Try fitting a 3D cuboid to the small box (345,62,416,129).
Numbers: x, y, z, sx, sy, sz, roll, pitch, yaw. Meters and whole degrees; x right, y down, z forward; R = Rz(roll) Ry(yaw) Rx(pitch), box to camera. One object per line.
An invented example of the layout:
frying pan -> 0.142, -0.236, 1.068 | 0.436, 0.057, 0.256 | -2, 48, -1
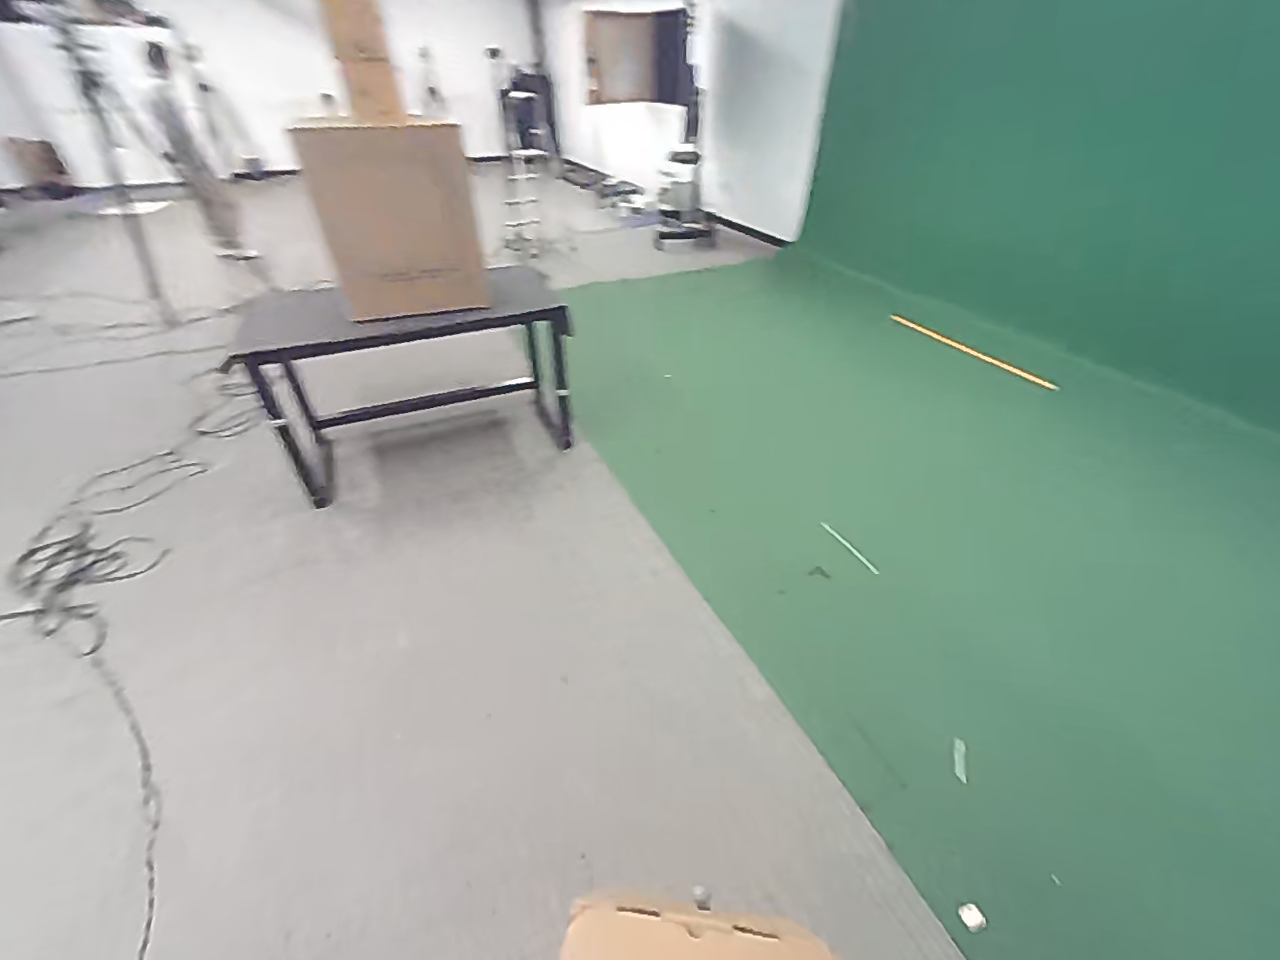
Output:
small box -> -0.842, -1.261, 1.773 | 0.168, 0.176, 0.179 | -10, 40, -12
